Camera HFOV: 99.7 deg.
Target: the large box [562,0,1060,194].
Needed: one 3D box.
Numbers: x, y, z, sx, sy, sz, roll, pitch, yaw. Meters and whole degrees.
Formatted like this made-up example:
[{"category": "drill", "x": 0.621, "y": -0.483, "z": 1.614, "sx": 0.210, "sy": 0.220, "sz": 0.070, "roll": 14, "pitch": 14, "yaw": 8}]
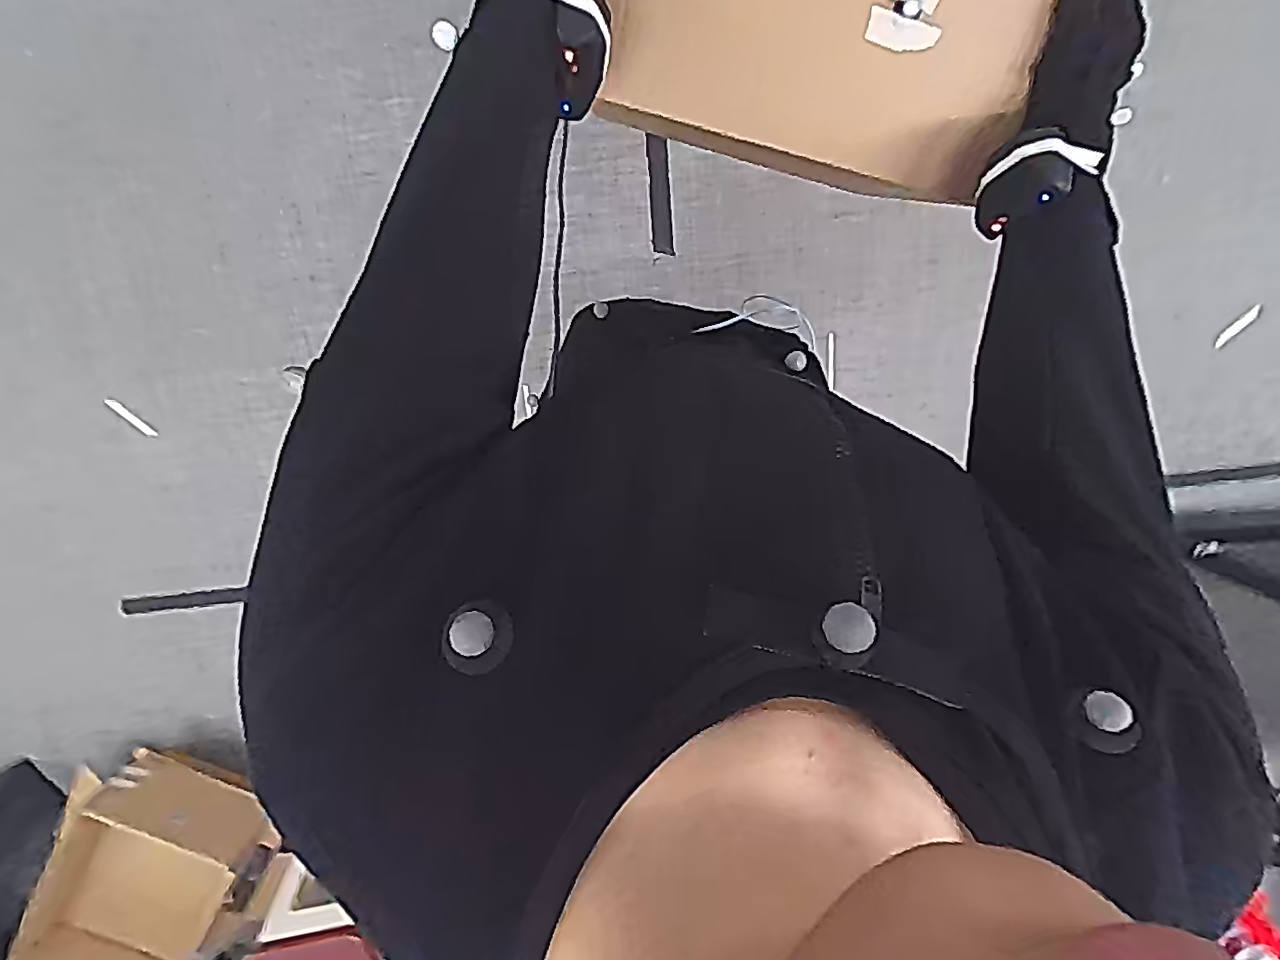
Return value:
[{"category": "large box", "x": 0.154, "y": -0.509, "z": 0.552, "sx": 0.408, "sy": 0.320, "sz": 0.320, "roll": 11, "pitch": 120, "yaw": -6}]
